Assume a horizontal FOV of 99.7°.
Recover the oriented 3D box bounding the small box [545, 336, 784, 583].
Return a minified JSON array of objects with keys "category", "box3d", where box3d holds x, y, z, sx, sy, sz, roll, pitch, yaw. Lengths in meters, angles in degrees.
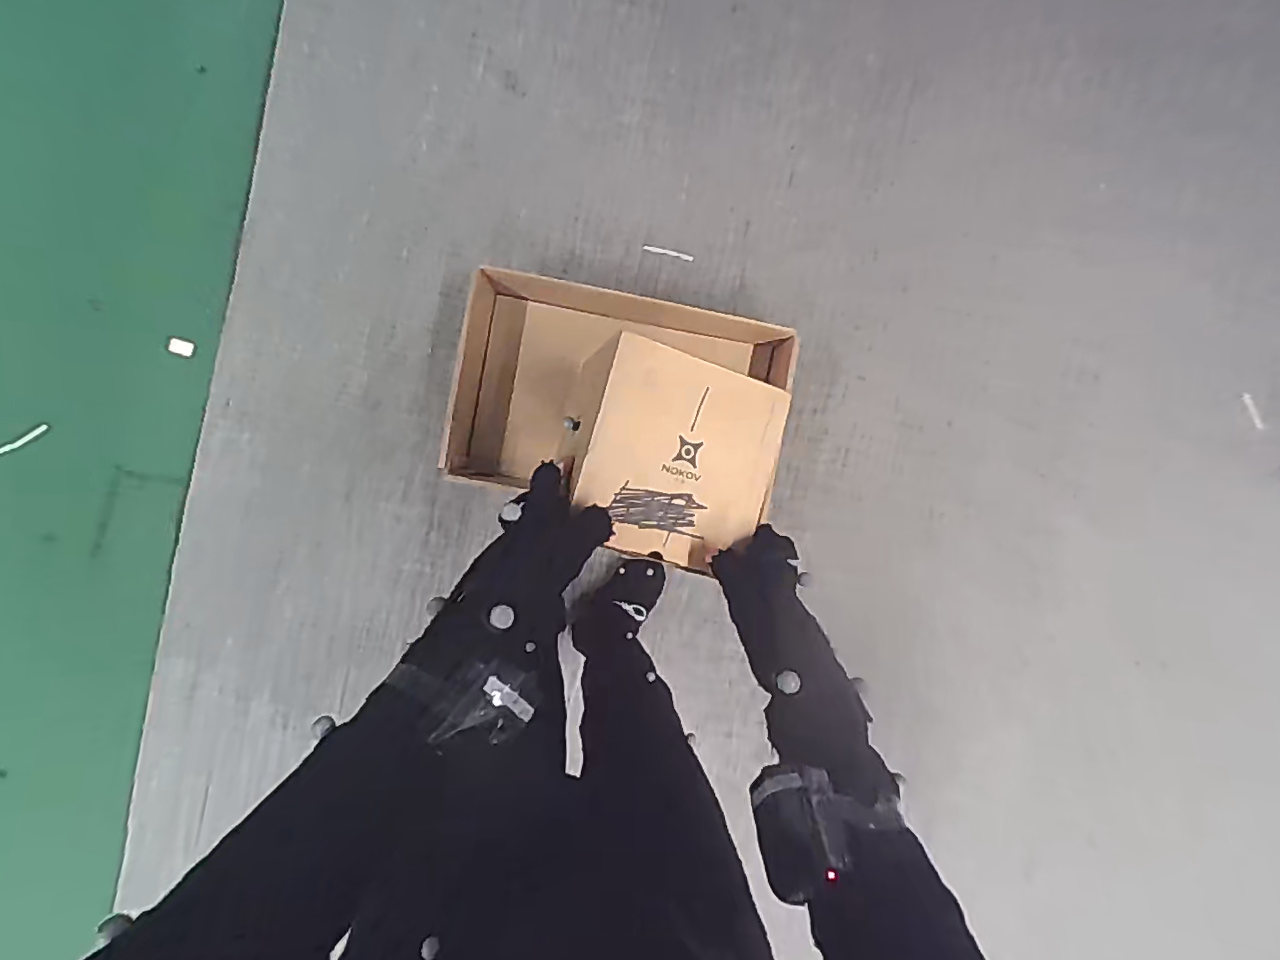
[{"category":"small box","box3d":[0.010,-0.016,0.540,0.168,0.176,0.179,18,87,-17]}]
